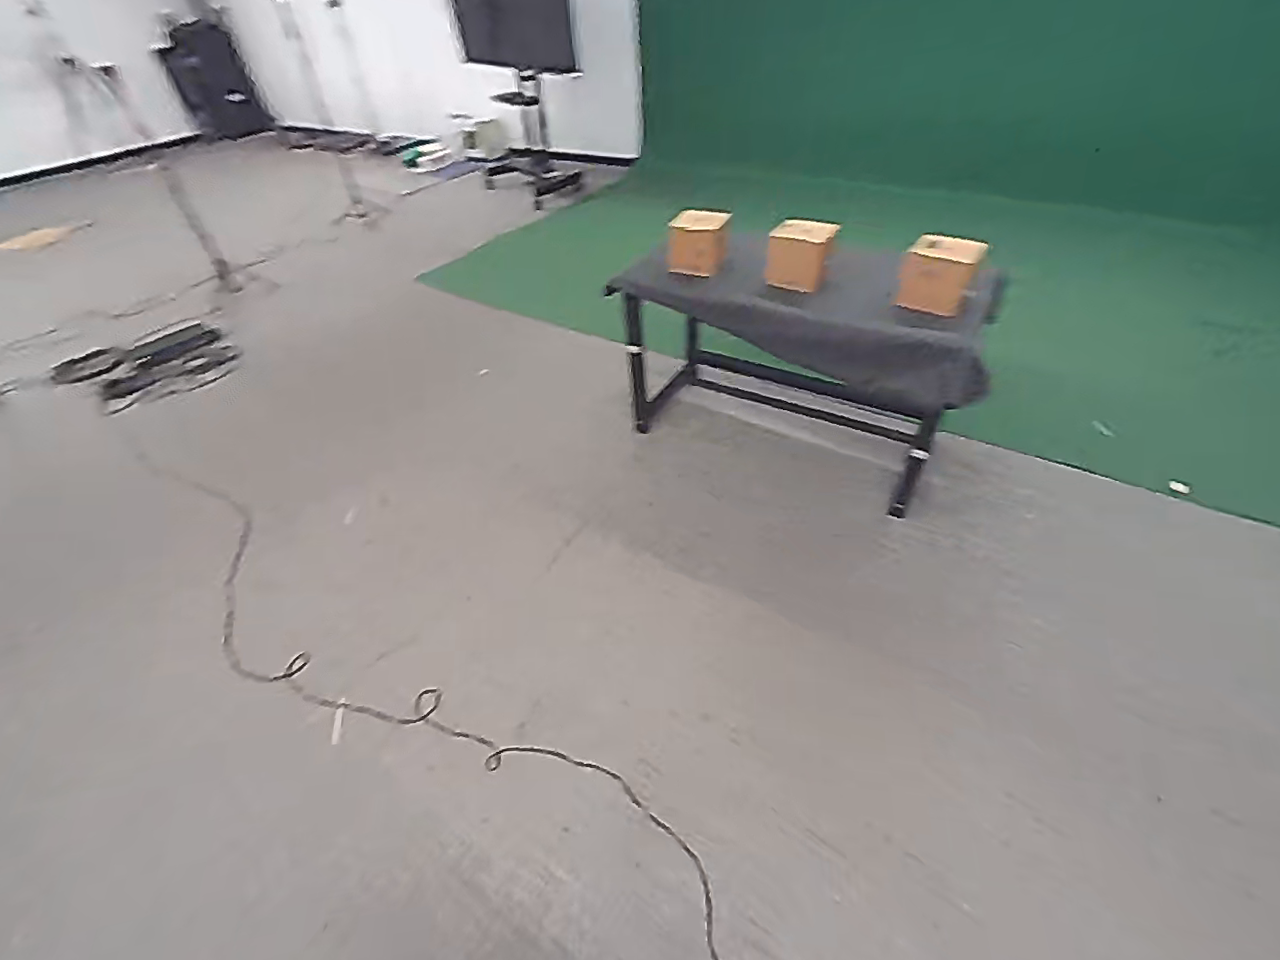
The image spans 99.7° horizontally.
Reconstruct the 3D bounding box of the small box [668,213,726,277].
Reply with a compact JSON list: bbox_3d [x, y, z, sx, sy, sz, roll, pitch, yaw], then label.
[{"bbox_3d":[0.208,-0.859,1.980,0.168,0.176,0.179,16,45,18],"label":"small box"}]

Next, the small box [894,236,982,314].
[{"bbox_3d":[0.913,-0.633,1.672,0.179,0.176,0.168,27,52,28],"label":"small box"}]

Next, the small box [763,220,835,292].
[{"bbox_3d":[0.539,-0.761,1.845,0.179,0.176,0.168,23,50,26],"label":"small box"}]
